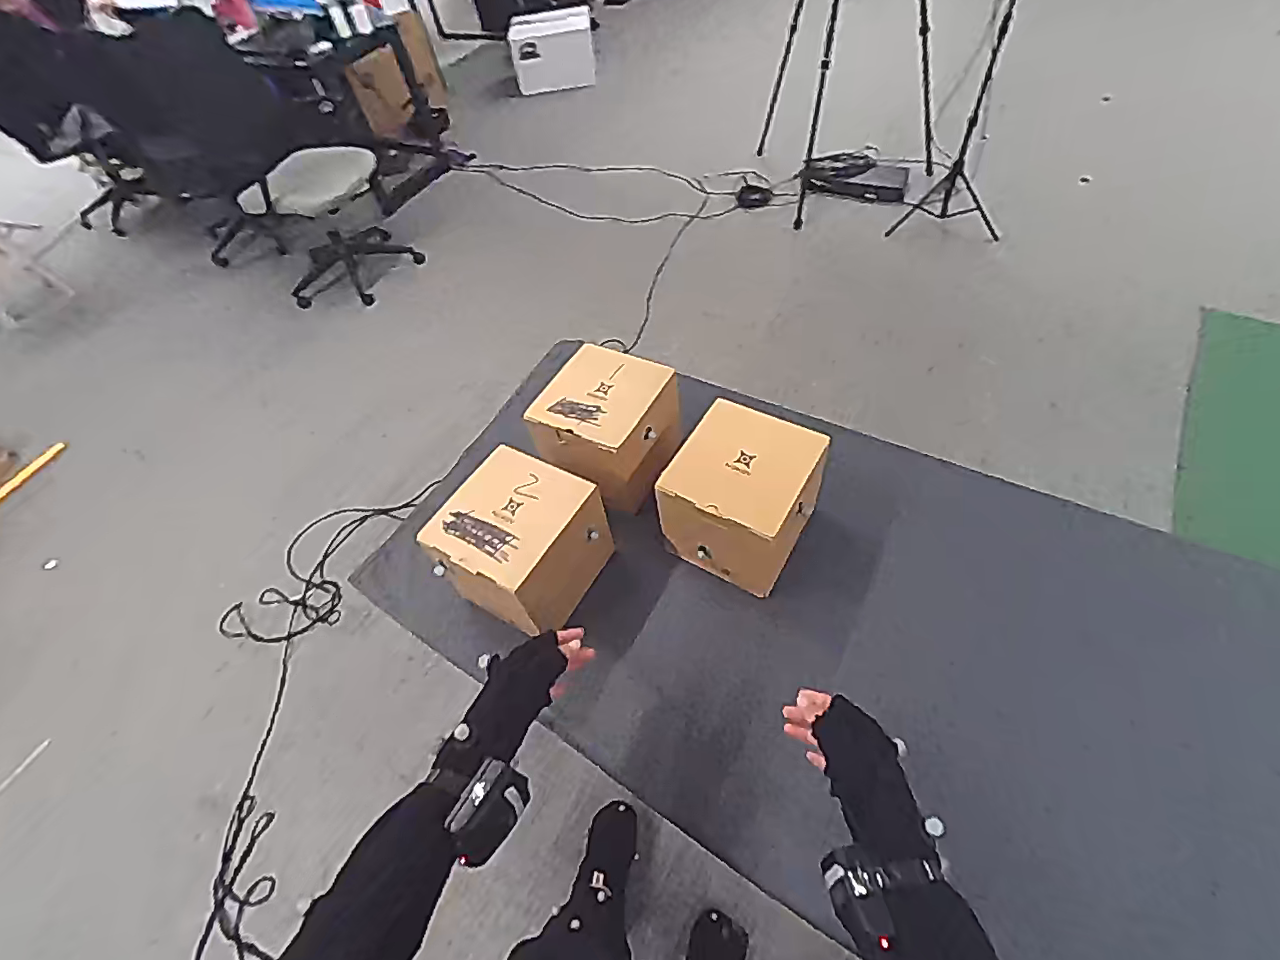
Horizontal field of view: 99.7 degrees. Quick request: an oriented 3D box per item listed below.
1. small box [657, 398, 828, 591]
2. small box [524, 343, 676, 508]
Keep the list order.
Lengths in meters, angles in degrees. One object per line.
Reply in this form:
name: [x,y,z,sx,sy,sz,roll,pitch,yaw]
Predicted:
small box: [0.140,0.023,0.759,0.168,0.176,0.179,24,62,23]
small box: [-0.050,-0.083,0.861,0.168,0.176,0.179,22,60,22]
